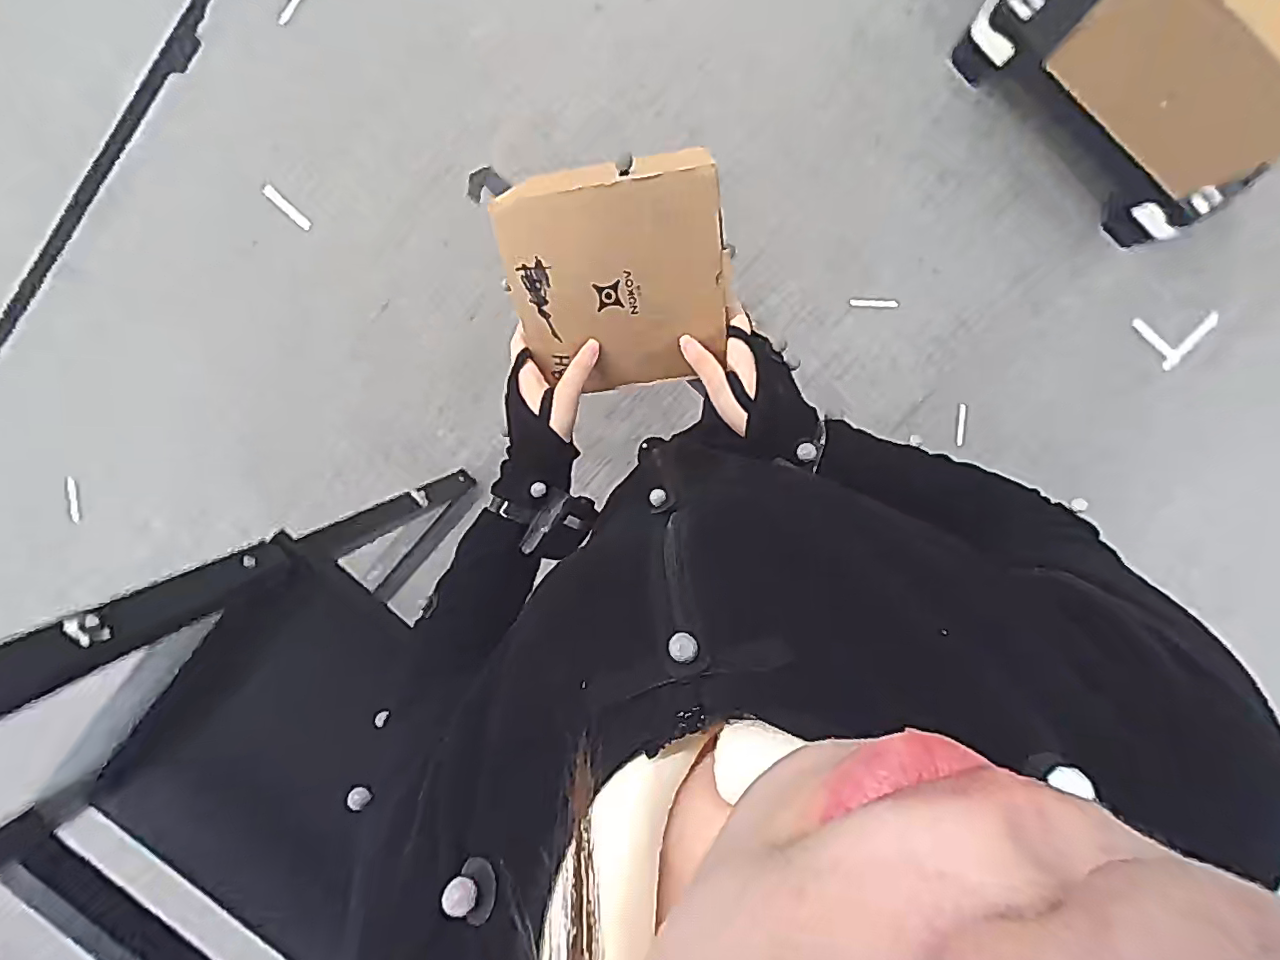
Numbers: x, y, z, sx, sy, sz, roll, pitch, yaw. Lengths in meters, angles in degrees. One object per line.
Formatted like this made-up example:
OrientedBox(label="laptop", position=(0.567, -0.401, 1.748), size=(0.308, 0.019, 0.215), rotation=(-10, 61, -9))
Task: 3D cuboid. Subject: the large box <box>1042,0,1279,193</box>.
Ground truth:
OrientedBox(label="large box", position=(1.067, -0.815, 0.965), size=(0.408, 0.320, 0.320), rotation=(41, 98, -3))
